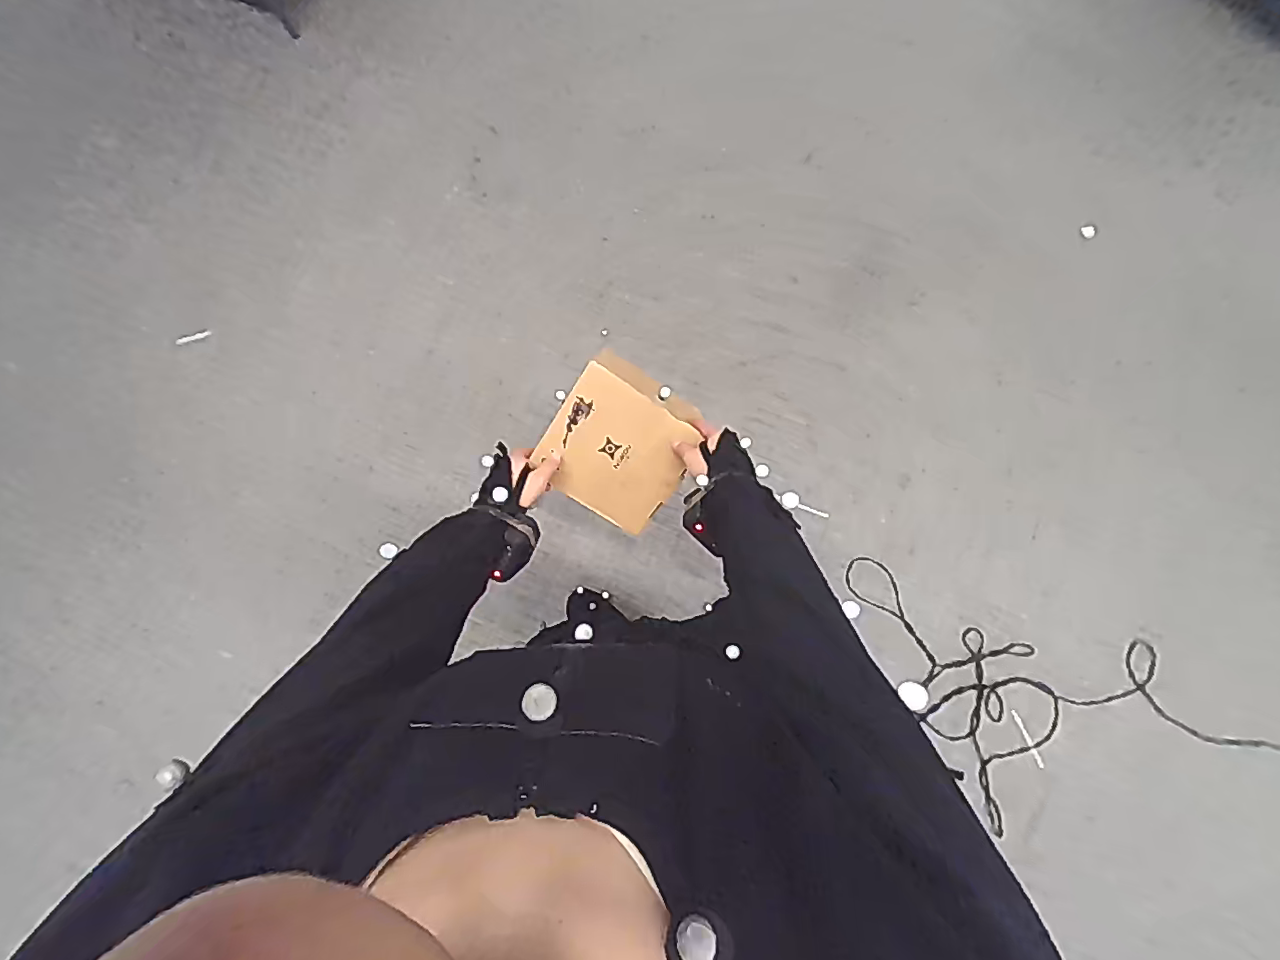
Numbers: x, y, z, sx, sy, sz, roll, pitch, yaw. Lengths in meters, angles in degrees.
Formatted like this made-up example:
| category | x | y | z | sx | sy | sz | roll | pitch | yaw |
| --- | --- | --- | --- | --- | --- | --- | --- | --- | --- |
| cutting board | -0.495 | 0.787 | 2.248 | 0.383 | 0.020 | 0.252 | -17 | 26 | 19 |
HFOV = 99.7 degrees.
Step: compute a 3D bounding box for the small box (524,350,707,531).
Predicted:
| category | x | y | z | sx | sy | sz | roll | pitch | yaw |
| --- | --- | --- | --- | --- | --- | --- | --- | --- | --- |
| small box | -0.030 | -0.065 | 0.748 | 0.179 | 0.176 | 0.168 | 32 | 106 | -9 |
